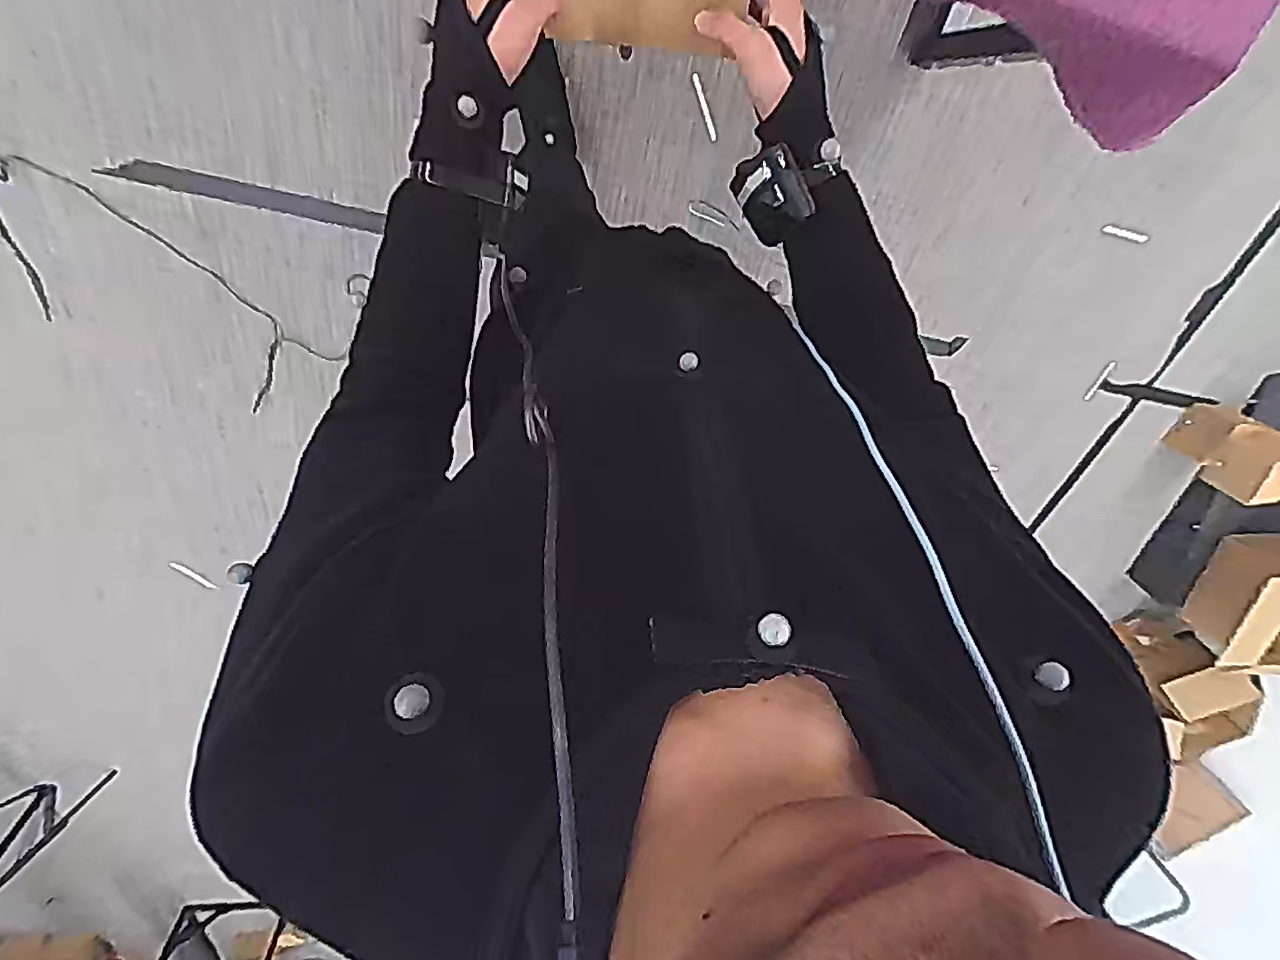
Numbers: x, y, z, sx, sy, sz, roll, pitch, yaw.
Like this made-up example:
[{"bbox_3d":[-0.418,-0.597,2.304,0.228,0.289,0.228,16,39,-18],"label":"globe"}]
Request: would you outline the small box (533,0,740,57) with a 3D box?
[{"bbox_3d":[-0.003,-0.475,0.441,0.168,0.176,0.179,-1,133,-11],"label":"small box"}]
